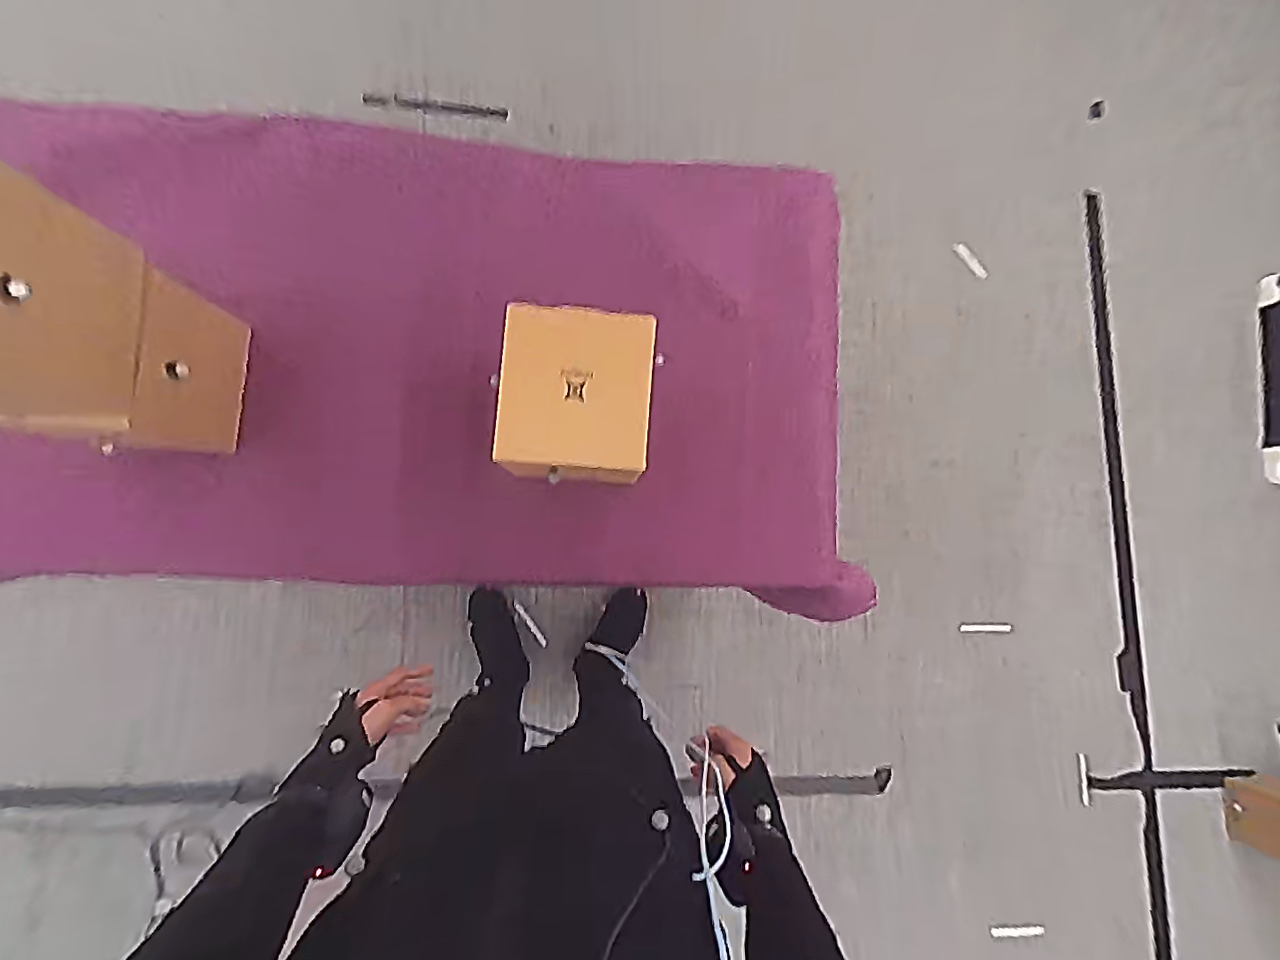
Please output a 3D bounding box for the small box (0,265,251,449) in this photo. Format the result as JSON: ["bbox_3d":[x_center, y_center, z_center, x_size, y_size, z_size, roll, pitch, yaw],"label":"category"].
[{"bbox_3d":[-0.591,-0.135,0.626,0.168,0.176,0.179,5,84,-5],"label":"small box"}]

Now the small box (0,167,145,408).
[{"bbox_3d":[-0.581,-0.163,0.464,0.168,0.176,0.179,0,84,-5],"label":"small box"}]

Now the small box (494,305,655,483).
[{"bbox_3d":[-0.075,-0.093,0.669,0.168,0.176,0.179,4,83,-4],"label":"small box"}]
